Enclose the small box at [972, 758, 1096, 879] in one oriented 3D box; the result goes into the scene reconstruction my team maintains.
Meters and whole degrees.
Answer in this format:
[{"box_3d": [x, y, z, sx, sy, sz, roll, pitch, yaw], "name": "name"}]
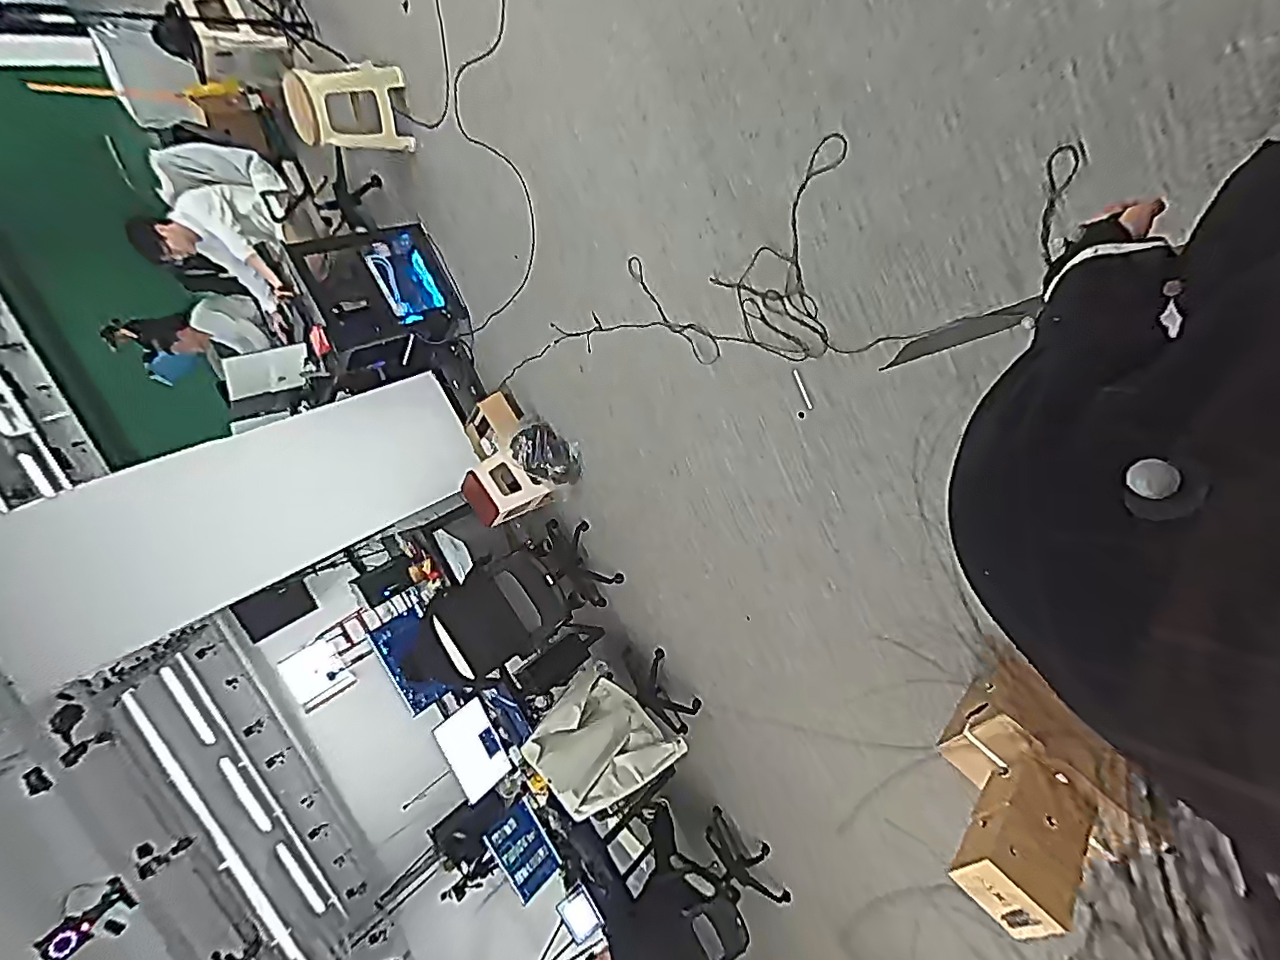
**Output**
[{"box_3d": [0.989, 0.845, 1.356, 0.179, 0.176, 0.168, 41, 140, 26], "name": "small box"}]
